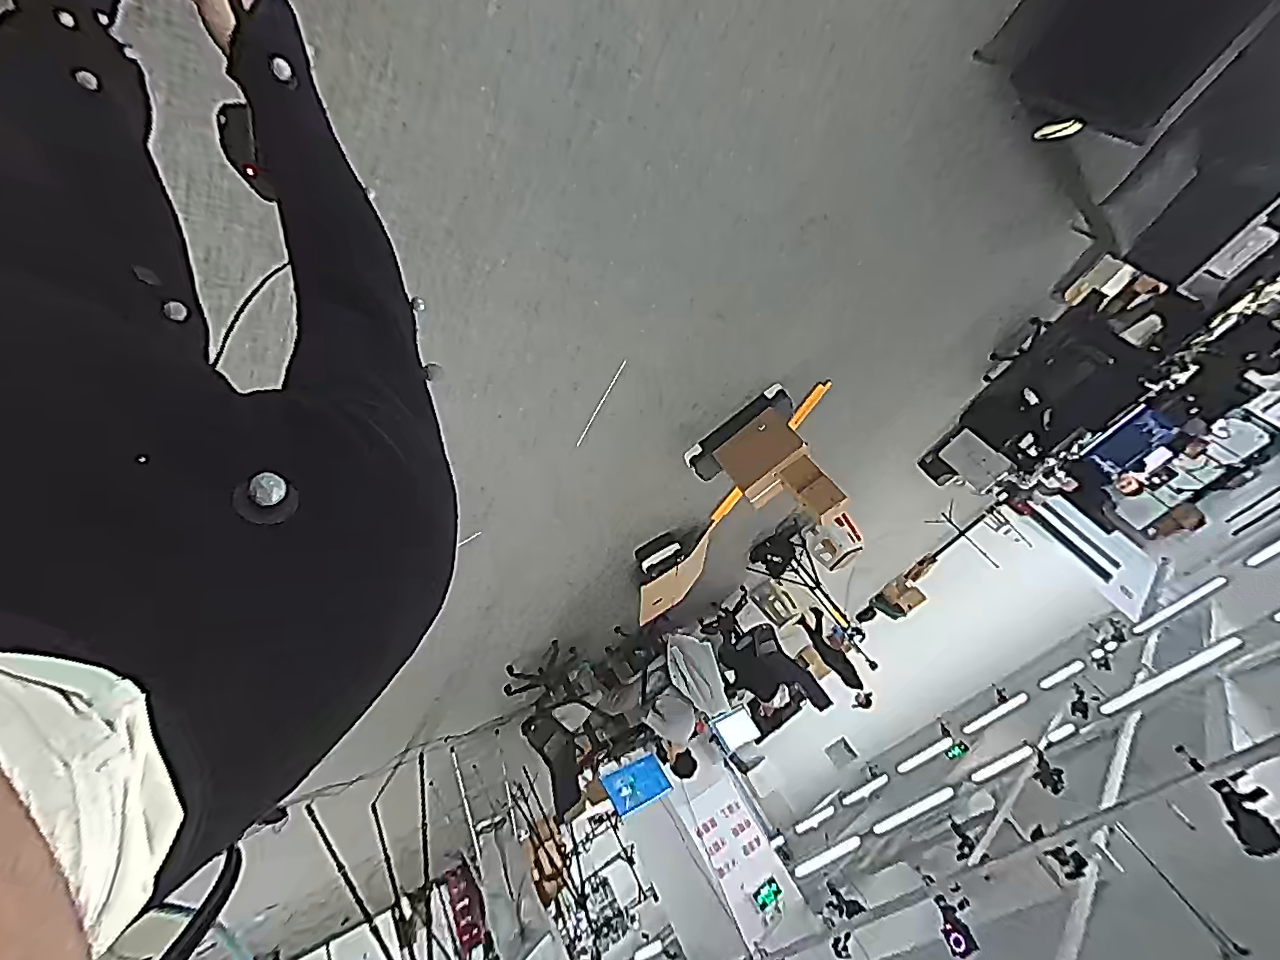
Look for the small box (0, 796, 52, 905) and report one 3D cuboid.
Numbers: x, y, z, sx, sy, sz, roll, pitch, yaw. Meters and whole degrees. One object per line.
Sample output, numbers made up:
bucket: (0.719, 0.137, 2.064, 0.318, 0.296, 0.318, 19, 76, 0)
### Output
small box: (-1.371, 0.774, 1.106, 0.179, 0.176, 0.168, -36, 150, 3)
